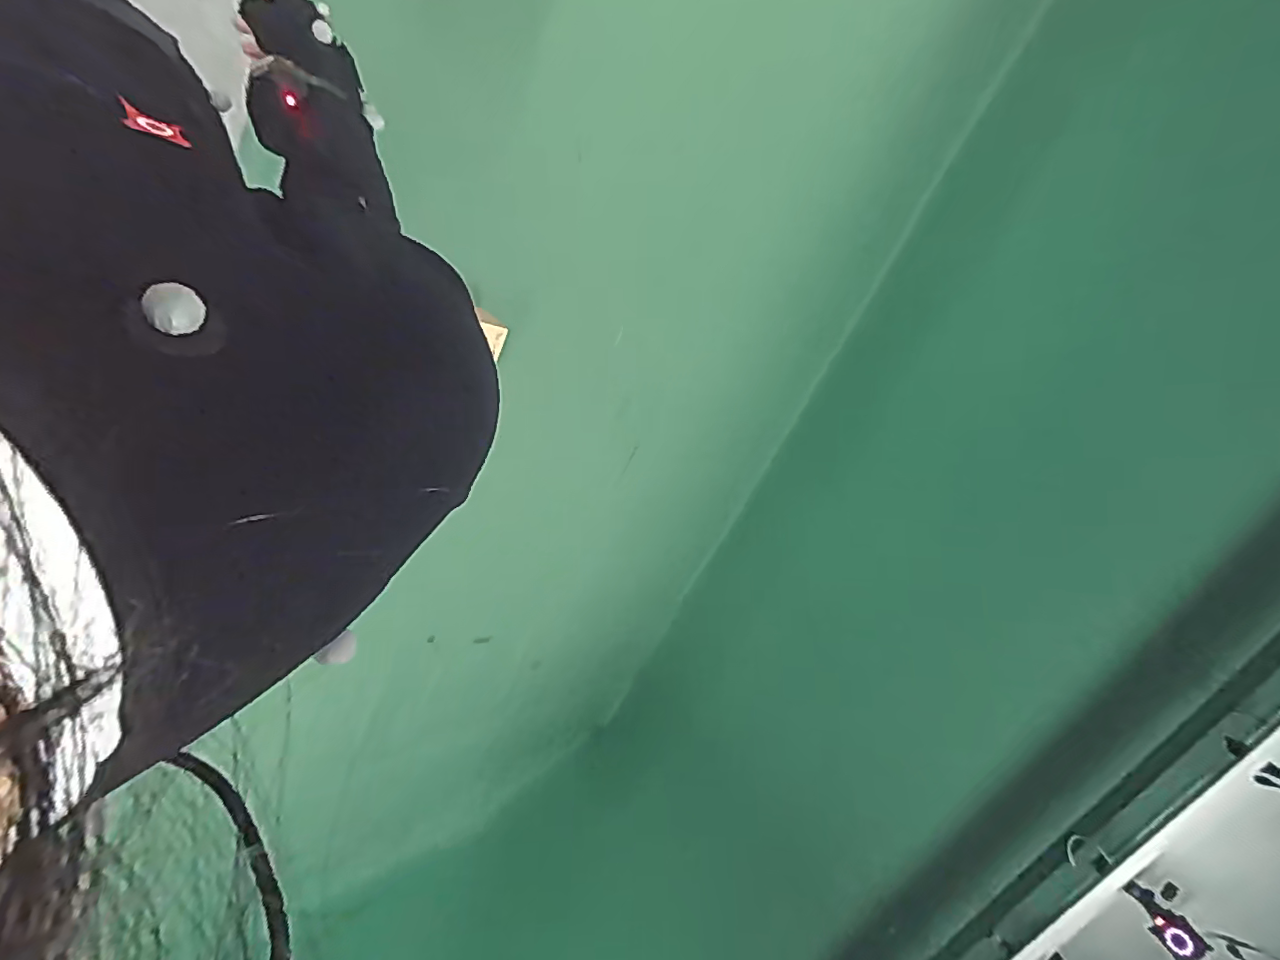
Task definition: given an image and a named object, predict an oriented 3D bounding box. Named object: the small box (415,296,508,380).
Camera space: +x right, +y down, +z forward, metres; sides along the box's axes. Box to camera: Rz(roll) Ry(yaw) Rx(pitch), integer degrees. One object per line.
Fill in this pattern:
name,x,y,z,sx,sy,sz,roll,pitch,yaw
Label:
small box,-0.521,-0.413,1.562,0.179,0.176,0.168,3,121,-51
